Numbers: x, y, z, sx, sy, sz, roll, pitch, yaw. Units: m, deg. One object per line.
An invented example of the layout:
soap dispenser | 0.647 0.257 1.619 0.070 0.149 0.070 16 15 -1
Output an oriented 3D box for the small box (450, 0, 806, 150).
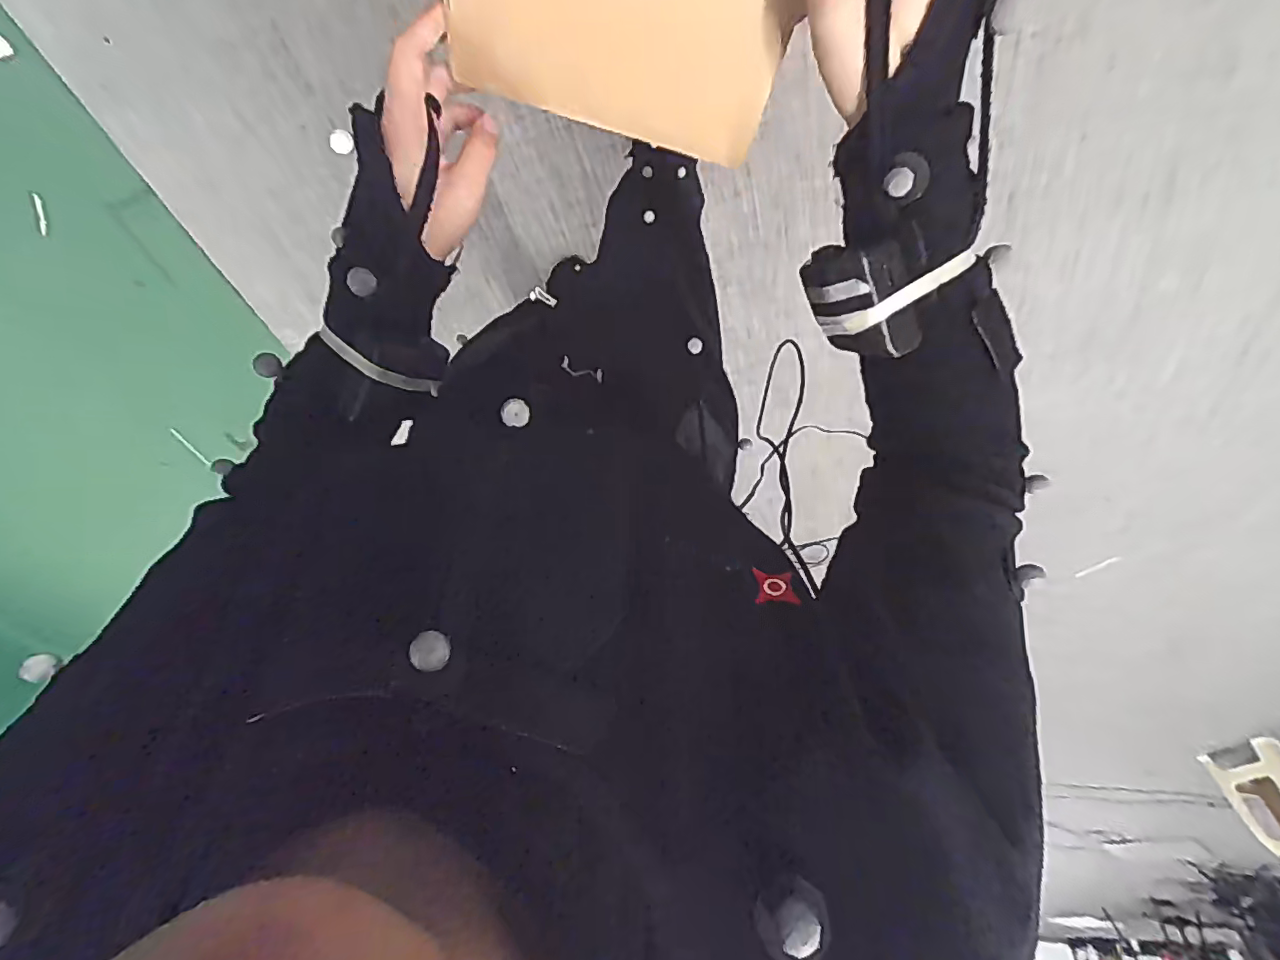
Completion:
small box | 0.009 -0.319 0.283 0.179 0.176 0.168 14 147 -6
